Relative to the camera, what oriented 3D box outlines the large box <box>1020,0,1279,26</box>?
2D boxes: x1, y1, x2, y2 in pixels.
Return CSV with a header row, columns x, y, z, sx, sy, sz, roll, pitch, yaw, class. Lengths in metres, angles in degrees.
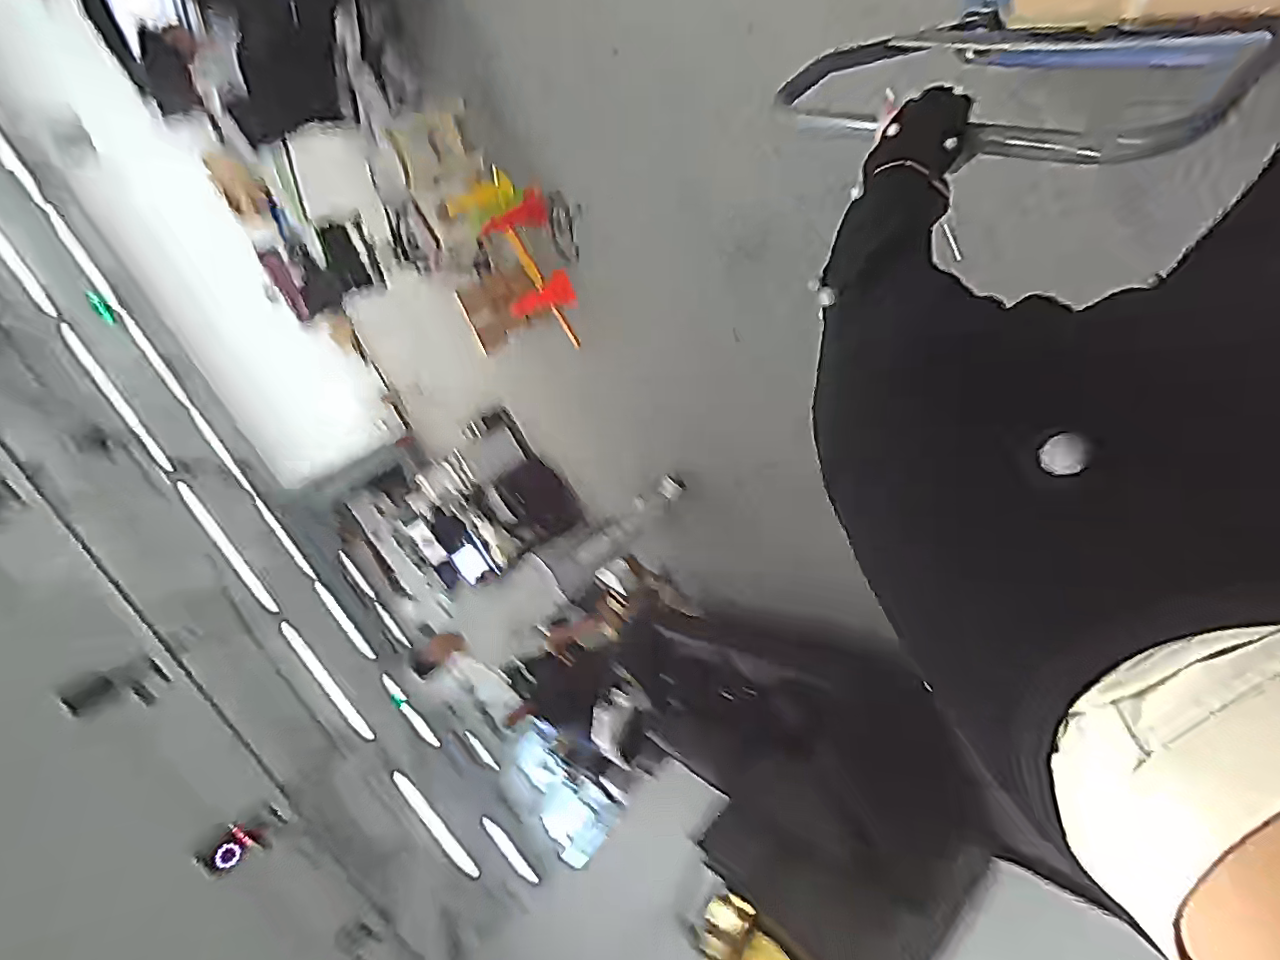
x,y,z,sx,sy,sz,roll,pitch,yaw,class
0.752,-0.827,0.647,0.320,0.320,0.408,34,146,37,large box
